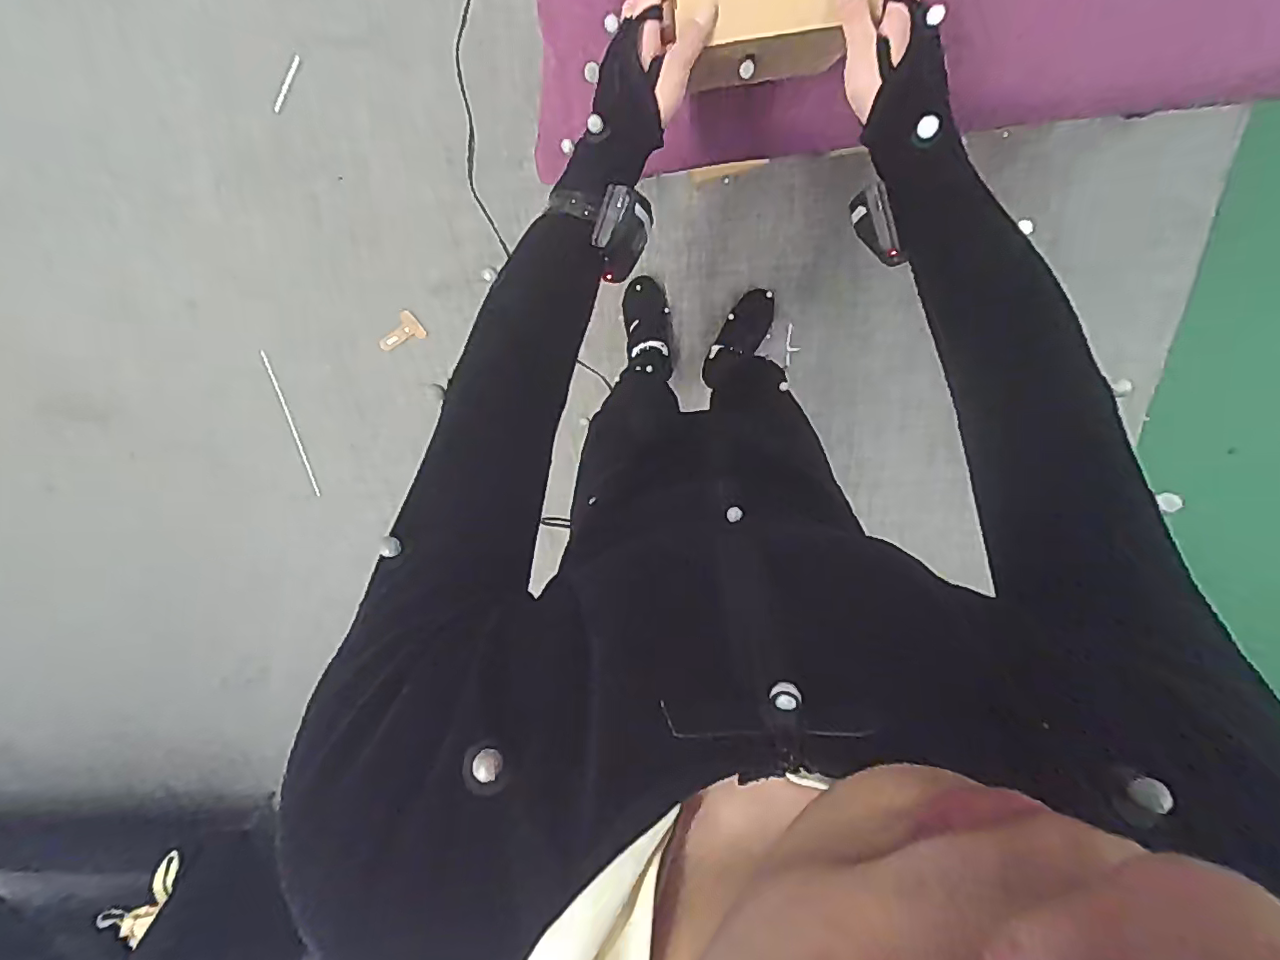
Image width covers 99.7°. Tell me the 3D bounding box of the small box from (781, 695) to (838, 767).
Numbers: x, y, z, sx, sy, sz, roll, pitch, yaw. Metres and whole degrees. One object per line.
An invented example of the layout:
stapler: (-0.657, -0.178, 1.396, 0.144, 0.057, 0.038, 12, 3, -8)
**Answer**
small box: (0.610, 0.910, 1.964, 0.168, 0.176, 0.179, -4, 115, 5)

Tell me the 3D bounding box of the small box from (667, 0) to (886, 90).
small box: (0.111, -0.482, 0.494, 0.179, 0.176, 0.168, -6, 114, 4)

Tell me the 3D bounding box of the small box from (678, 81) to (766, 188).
small box: (0.182, -0.768, 1.213, 0.168, 0.176, 0.179, -11, 114, 9)

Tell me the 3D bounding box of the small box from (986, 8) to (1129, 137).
small box: (0.860, -0.840, 1.136, 0.168, 0.176, 0.179, -6, 113, 6)
